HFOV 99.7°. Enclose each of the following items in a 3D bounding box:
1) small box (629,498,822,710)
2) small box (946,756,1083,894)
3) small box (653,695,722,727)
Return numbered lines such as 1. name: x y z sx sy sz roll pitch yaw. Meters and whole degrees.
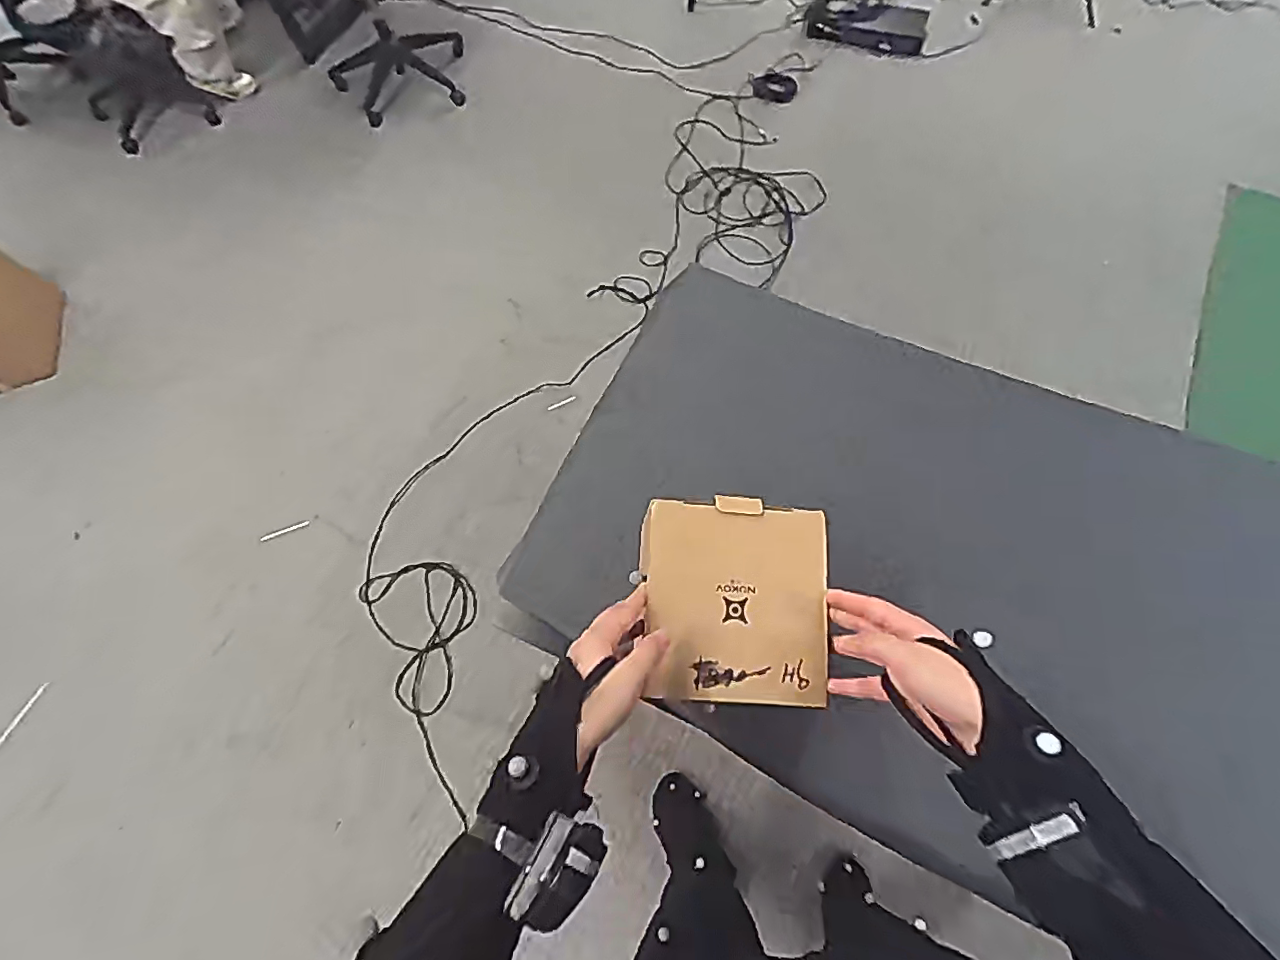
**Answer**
1. small box: 0.078 0.127 0.563 0.168 0.176 0.179 5 77 -1
2. small box: 0.744 0.680 1.090 0.168 0.176 0.179 18 68 12
3. small box: 0.125 0.450 1.252 0.168 0.176 0.179 26 70 16
